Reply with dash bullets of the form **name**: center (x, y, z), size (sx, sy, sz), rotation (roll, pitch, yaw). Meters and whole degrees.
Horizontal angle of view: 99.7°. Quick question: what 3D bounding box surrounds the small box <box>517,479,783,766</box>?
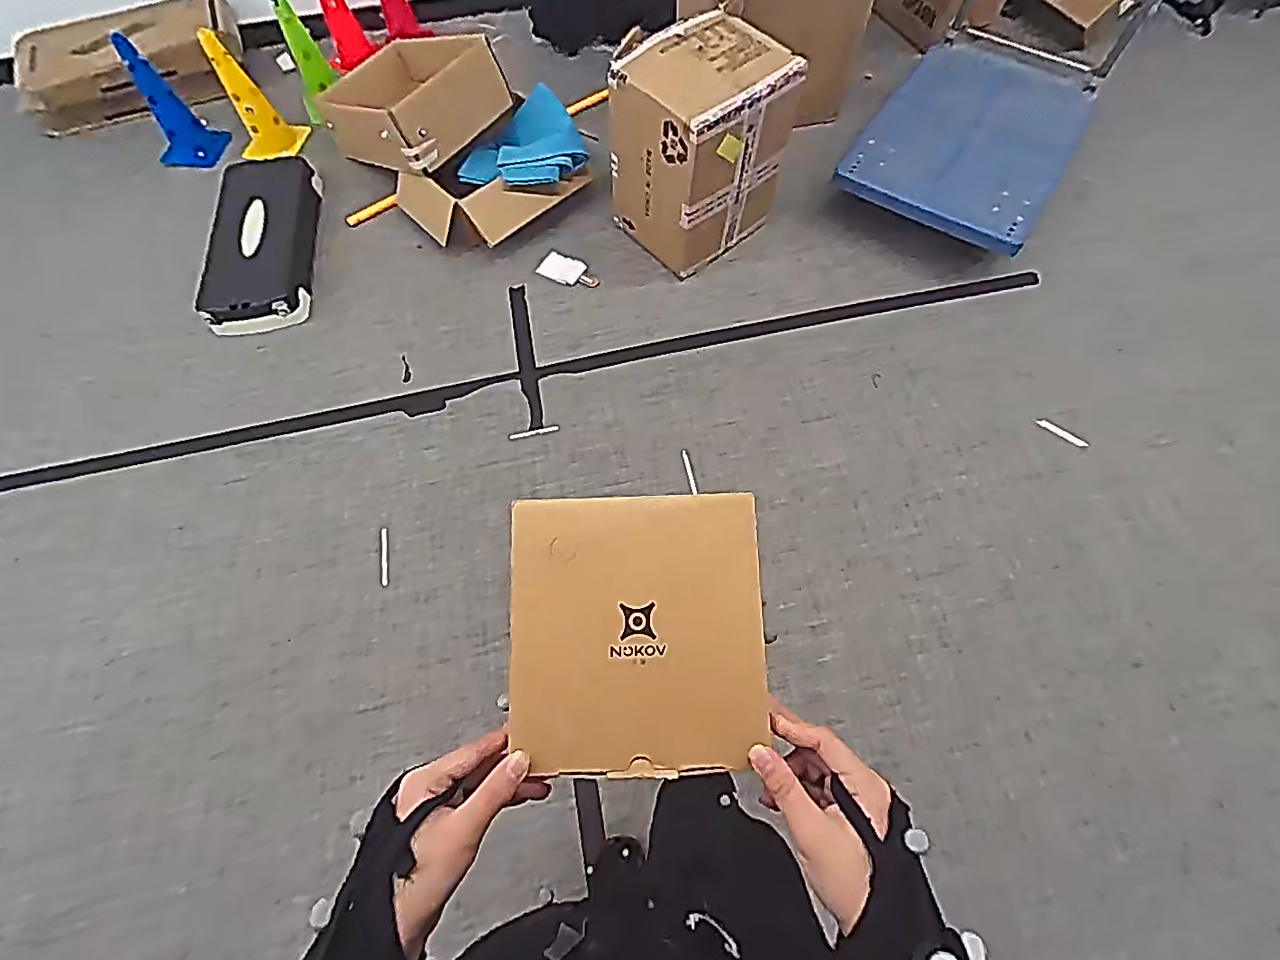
- **small box**: center (0.003, 0.102, 0.423), size (0.168, 0.176, 0.179), rotation (-2, 79, -1)
